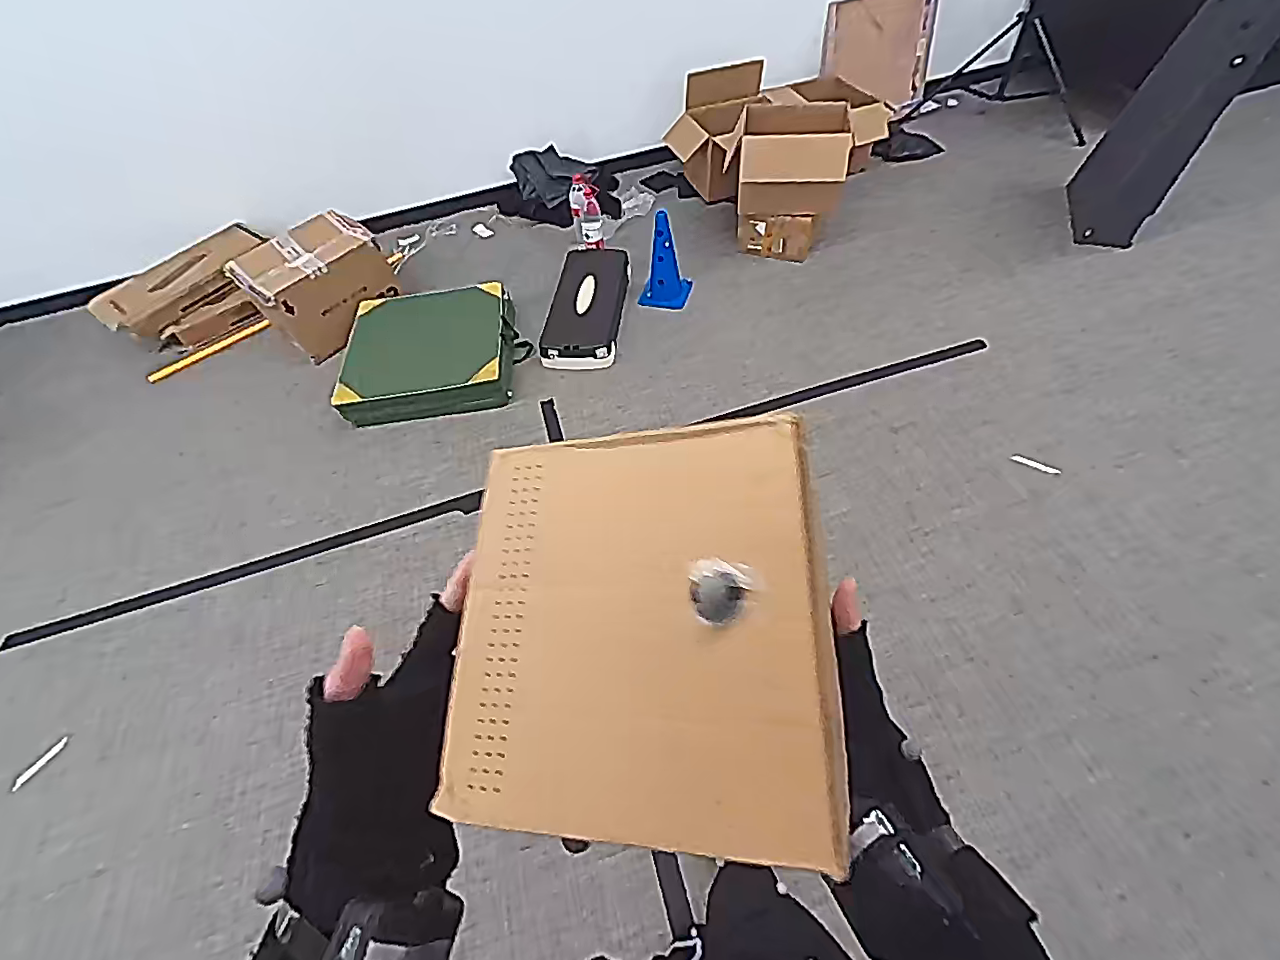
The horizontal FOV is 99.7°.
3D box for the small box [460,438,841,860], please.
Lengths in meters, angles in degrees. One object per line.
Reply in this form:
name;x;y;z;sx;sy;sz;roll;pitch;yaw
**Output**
small box;0.020;0.096;0.317;0.176;0.168;0.179;-5;65;19
